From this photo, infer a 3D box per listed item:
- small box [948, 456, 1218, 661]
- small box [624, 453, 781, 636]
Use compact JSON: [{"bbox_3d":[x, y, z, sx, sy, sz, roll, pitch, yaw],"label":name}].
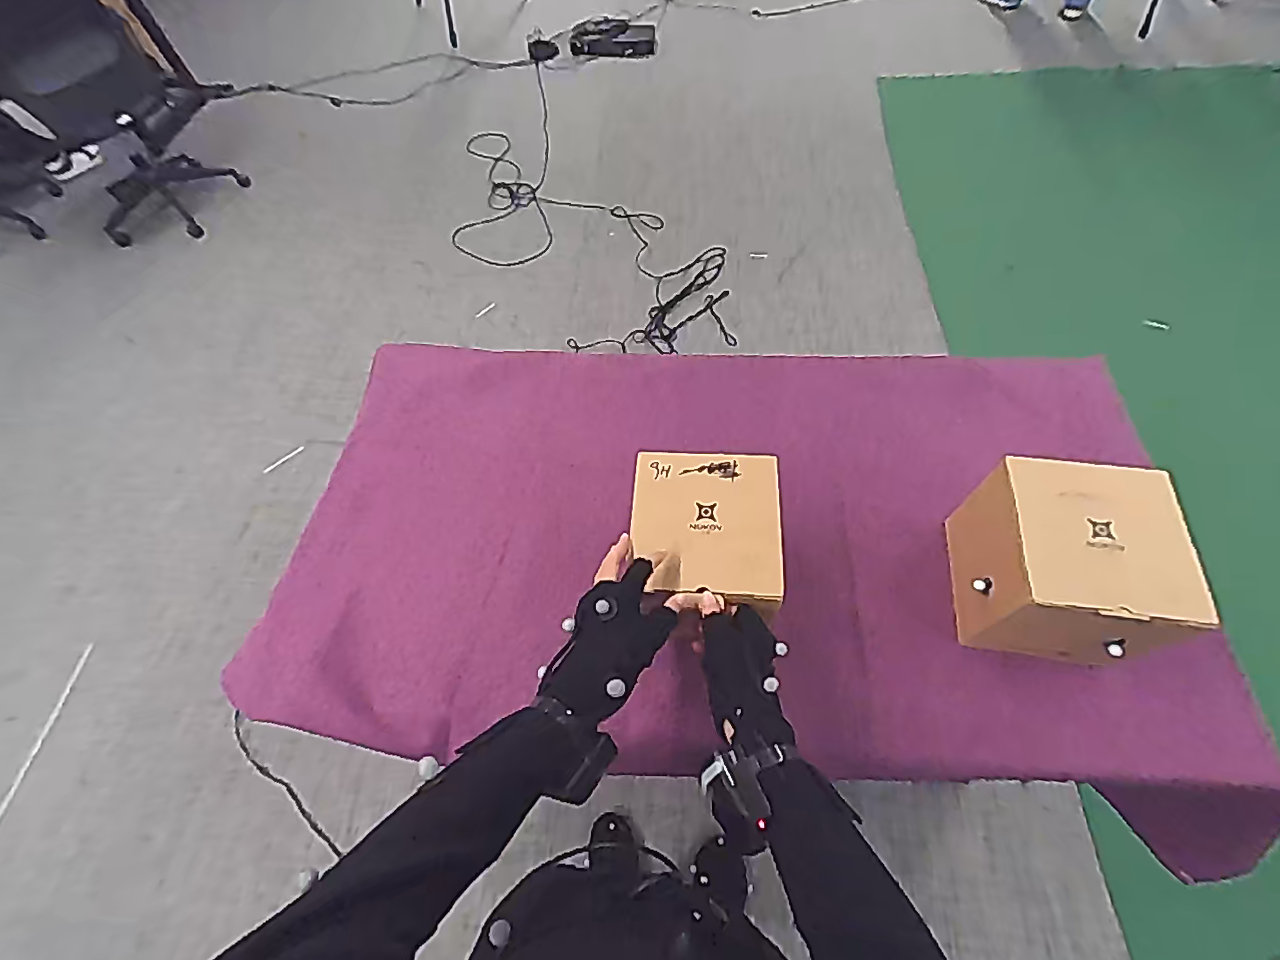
[{"bbox_3d":[0.481,0.097,0.624,0.168,0.176,0.179,7,60,9],"label":"small box"},{"bbox_3d":[0.078,0.085,0.666,0.168,0.176,0.179,2,60,6],"label":"small box"}]
